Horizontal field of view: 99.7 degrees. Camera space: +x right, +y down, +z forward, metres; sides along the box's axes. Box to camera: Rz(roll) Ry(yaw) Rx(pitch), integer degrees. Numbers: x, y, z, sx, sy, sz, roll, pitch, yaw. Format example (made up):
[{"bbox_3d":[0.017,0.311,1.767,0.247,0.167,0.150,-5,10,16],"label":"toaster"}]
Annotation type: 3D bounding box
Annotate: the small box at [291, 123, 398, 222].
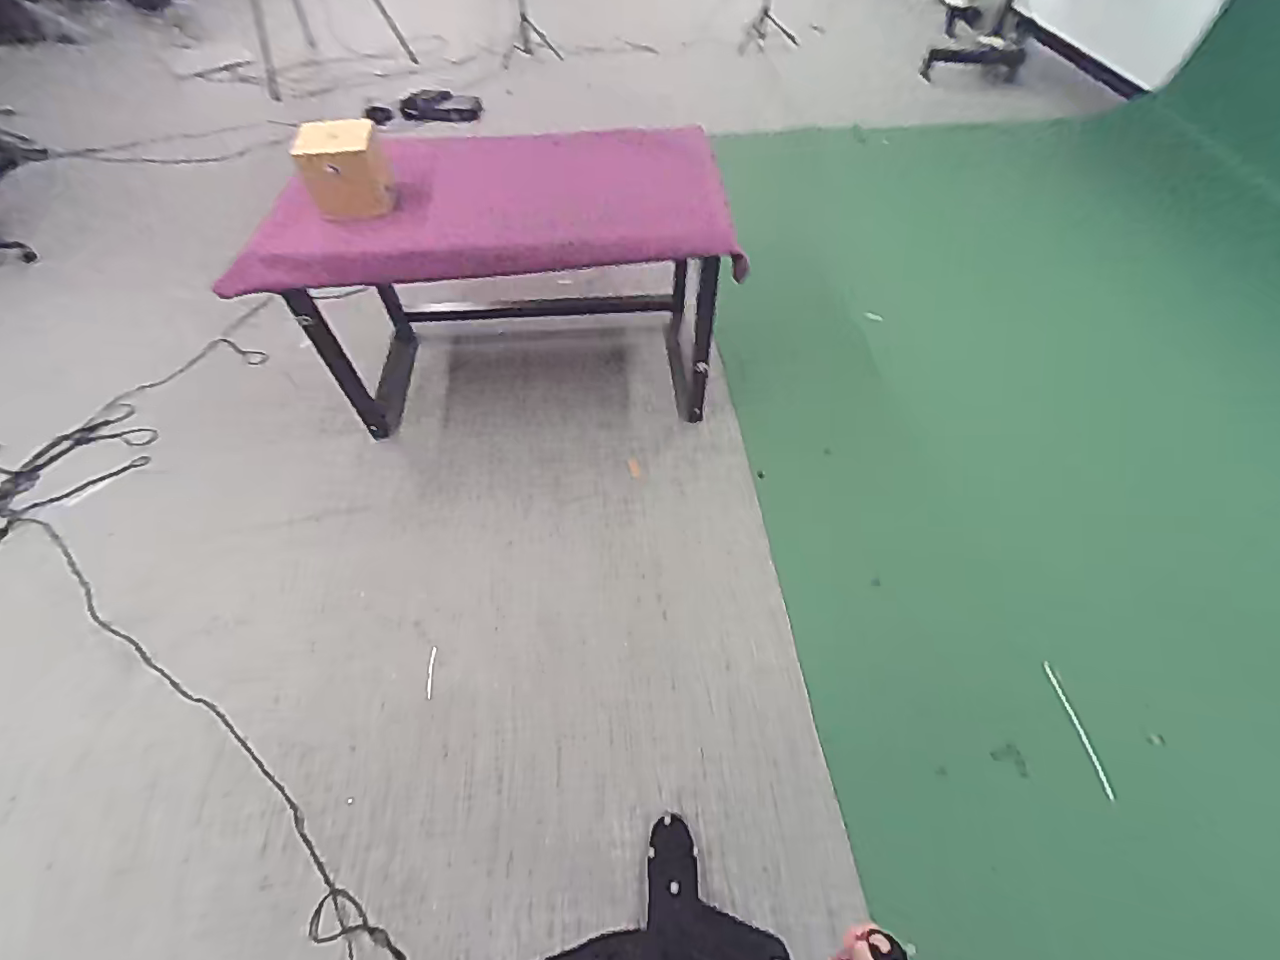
[{"bbox_3d":[-0.754,-0.790,1.397,0.179,0.176,0.168,-7,56,-5],"label":"small box"}]
